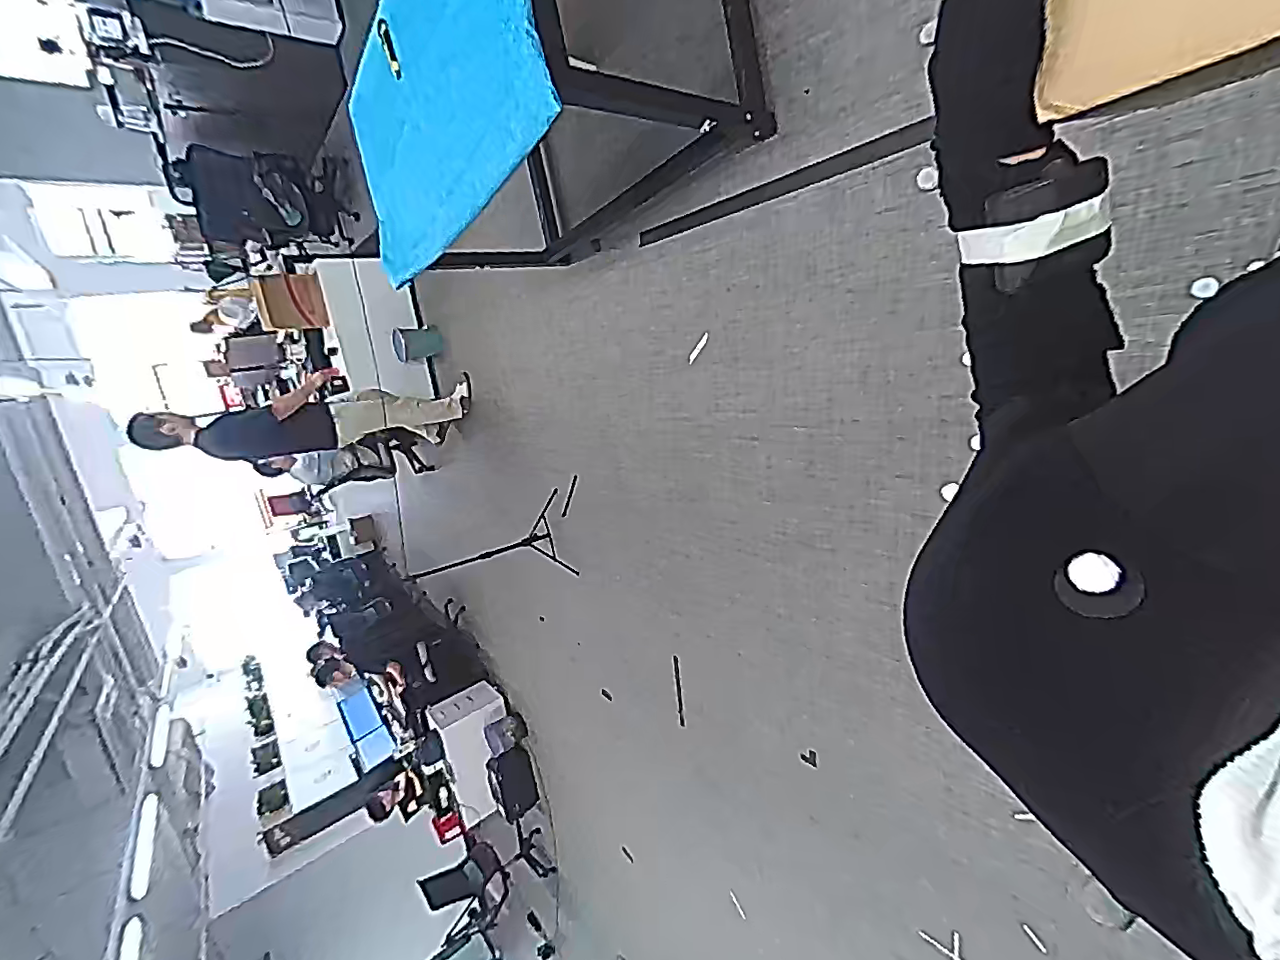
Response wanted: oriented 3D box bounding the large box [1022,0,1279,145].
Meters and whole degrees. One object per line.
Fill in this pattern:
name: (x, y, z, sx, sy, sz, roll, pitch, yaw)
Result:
large box: (0.419, -0.390, 0.201, 0.408, 0.320, 0.320, 5, 118, 52)
